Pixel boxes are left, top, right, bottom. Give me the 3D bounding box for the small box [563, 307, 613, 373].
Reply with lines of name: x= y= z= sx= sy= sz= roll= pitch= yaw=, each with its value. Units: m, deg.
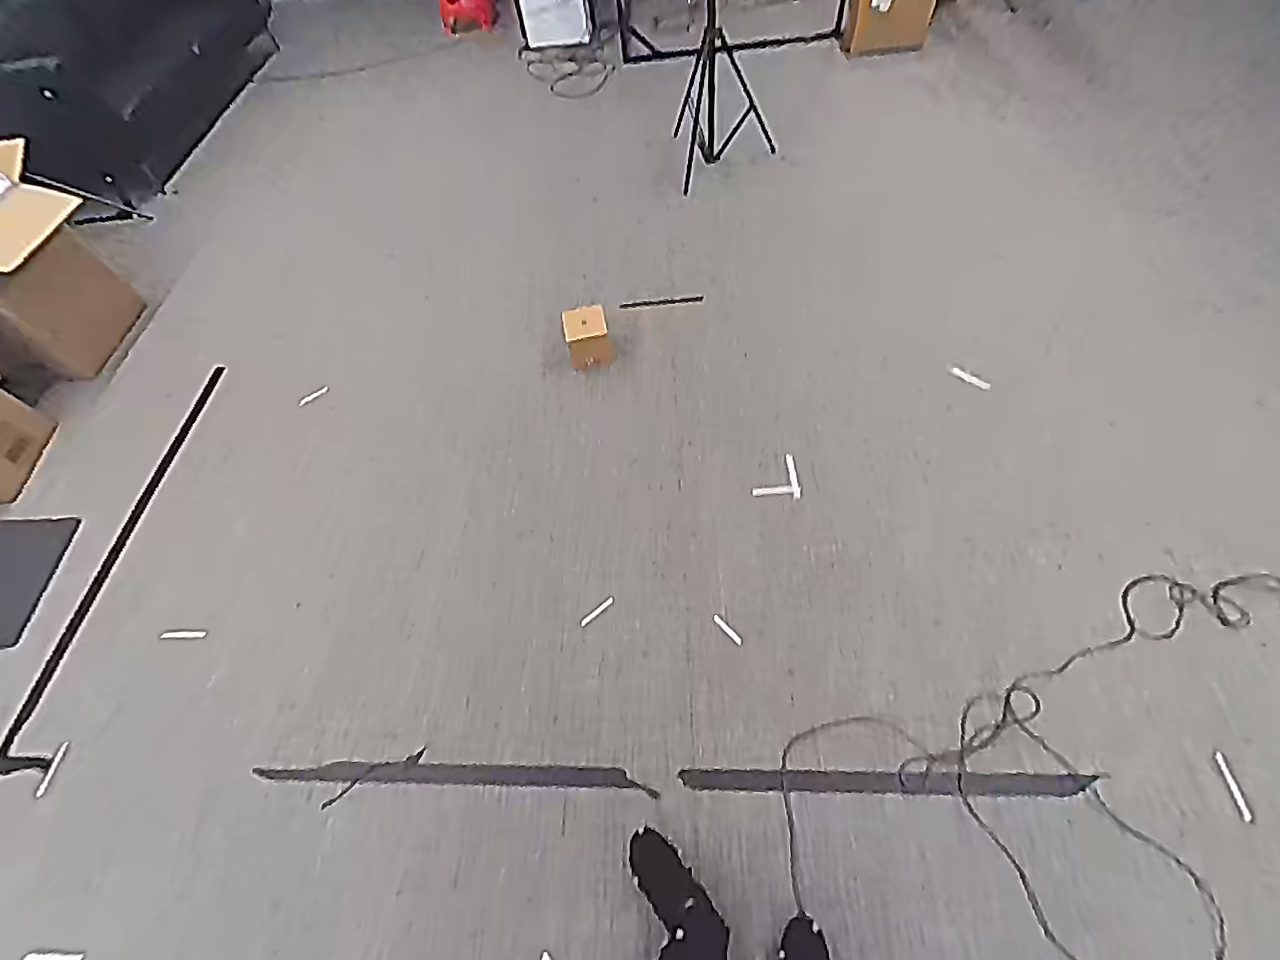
small box: x=-0.209 y=-0.564 z=2.184 sx=0.168 sy=0.176 sz=0.179 roll=-13 pitch=57 yaw=0
